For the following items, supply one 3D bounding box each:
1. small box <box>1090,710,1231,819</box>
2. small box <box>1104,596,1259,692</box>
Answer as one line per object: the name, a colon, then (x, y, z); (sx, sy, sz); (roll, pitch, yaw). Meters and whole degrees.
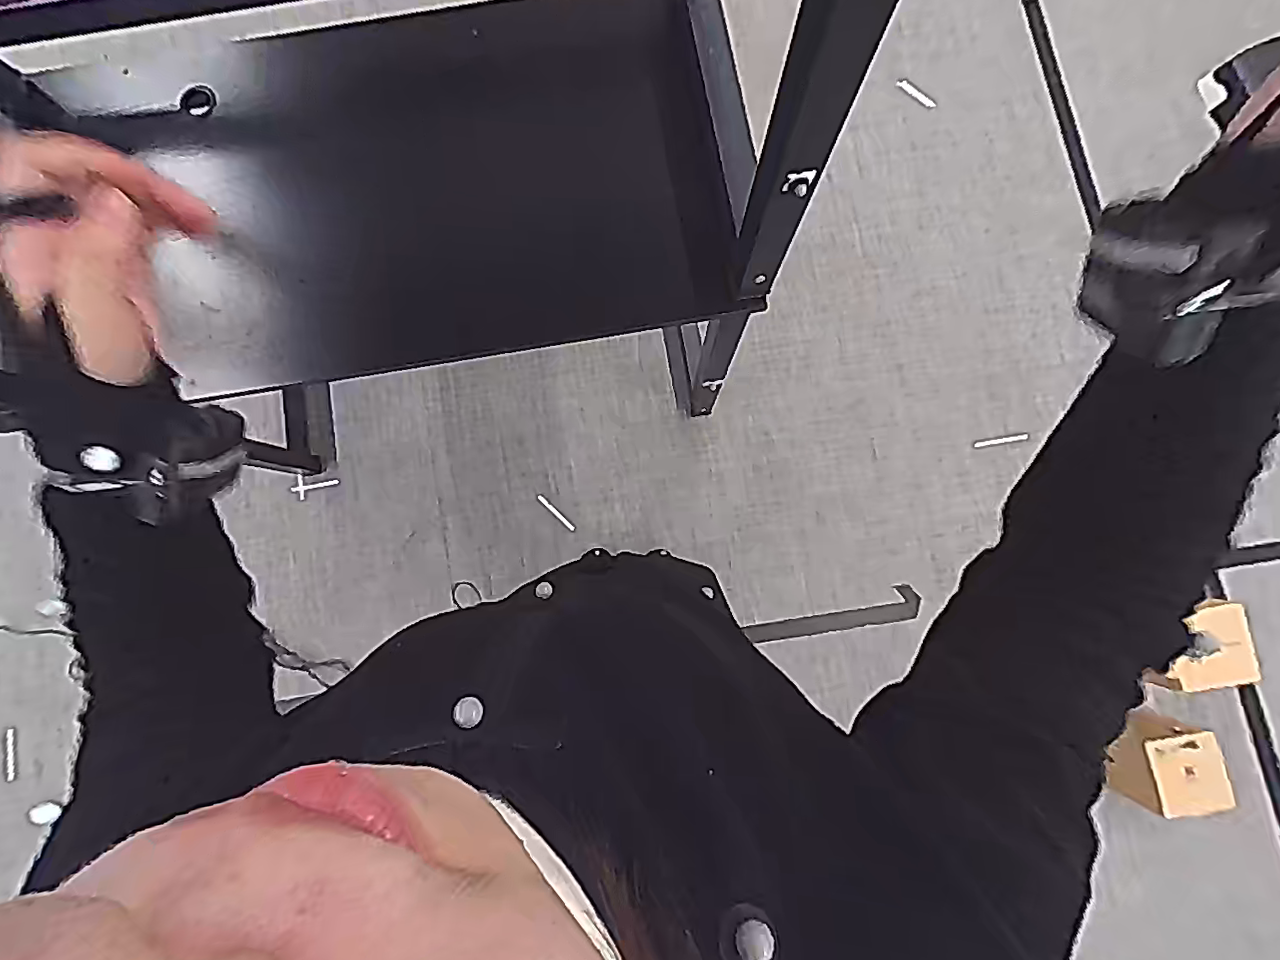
small box: (1.274, 0.694, 1.336); (0.168, 0.176, 0.179); (-10, 84, 0)
small box: (1.191, 0.358, 1.210); (0.179, 0.176, 0.168); (-8, 84, -1)
